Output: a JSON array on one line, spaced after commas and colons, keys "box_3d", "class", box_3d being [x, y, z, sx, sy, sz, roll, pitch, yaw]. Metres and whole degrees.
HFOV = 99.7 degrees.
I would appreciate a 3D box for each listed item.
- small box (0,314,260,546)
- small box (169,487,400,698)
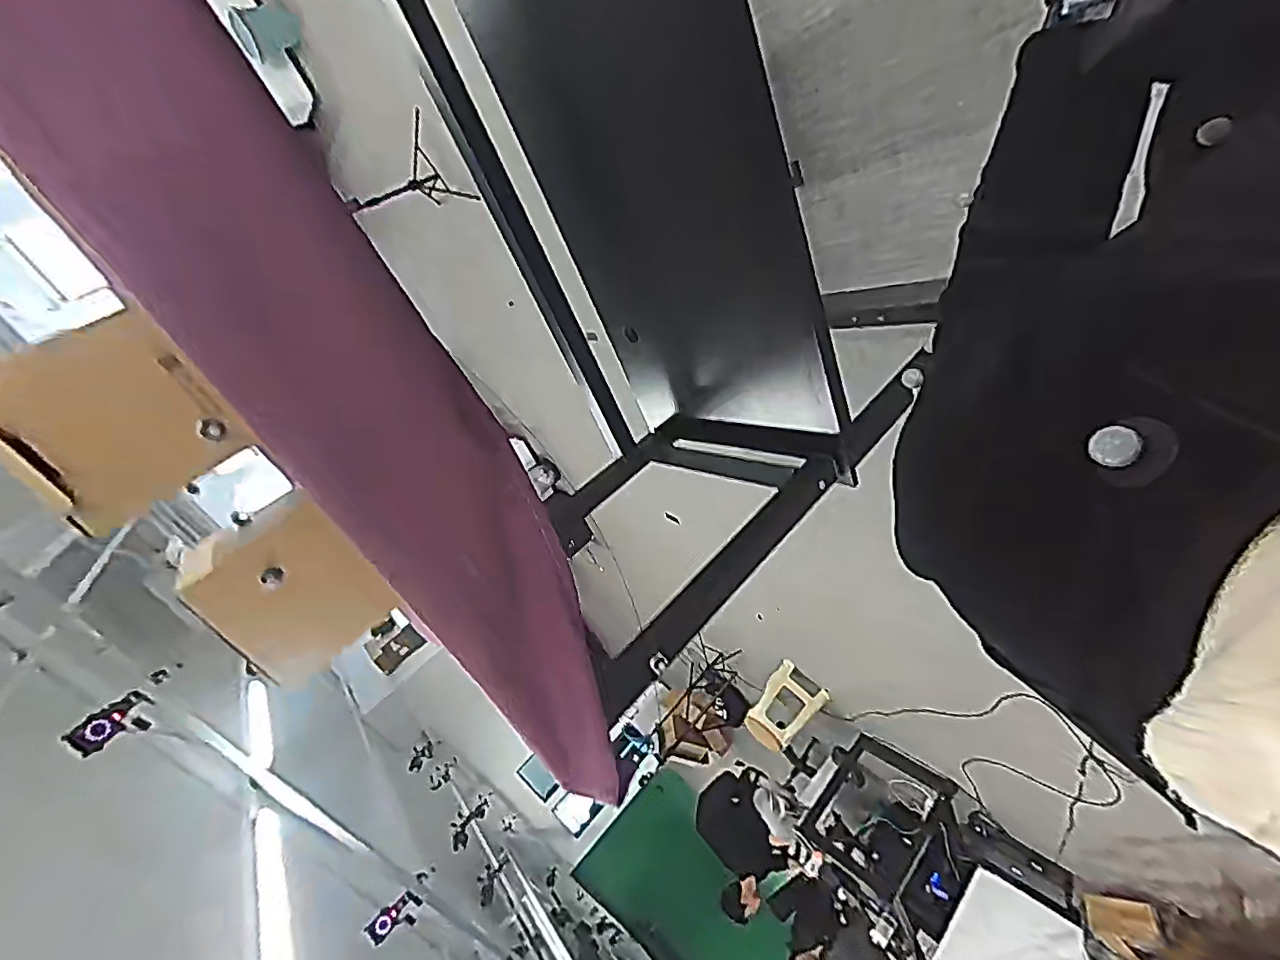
[{"box_3d": [-0.540, -0.059, 0.573, 0.179, 0.176, 0.168, 11, 135, 56], "class": "small box"}, {"box_3d": [-0.448, 0.131, 0.696, 0.168, 0.176, 0.179, 16, 140, 52], "class": "small box"}]
